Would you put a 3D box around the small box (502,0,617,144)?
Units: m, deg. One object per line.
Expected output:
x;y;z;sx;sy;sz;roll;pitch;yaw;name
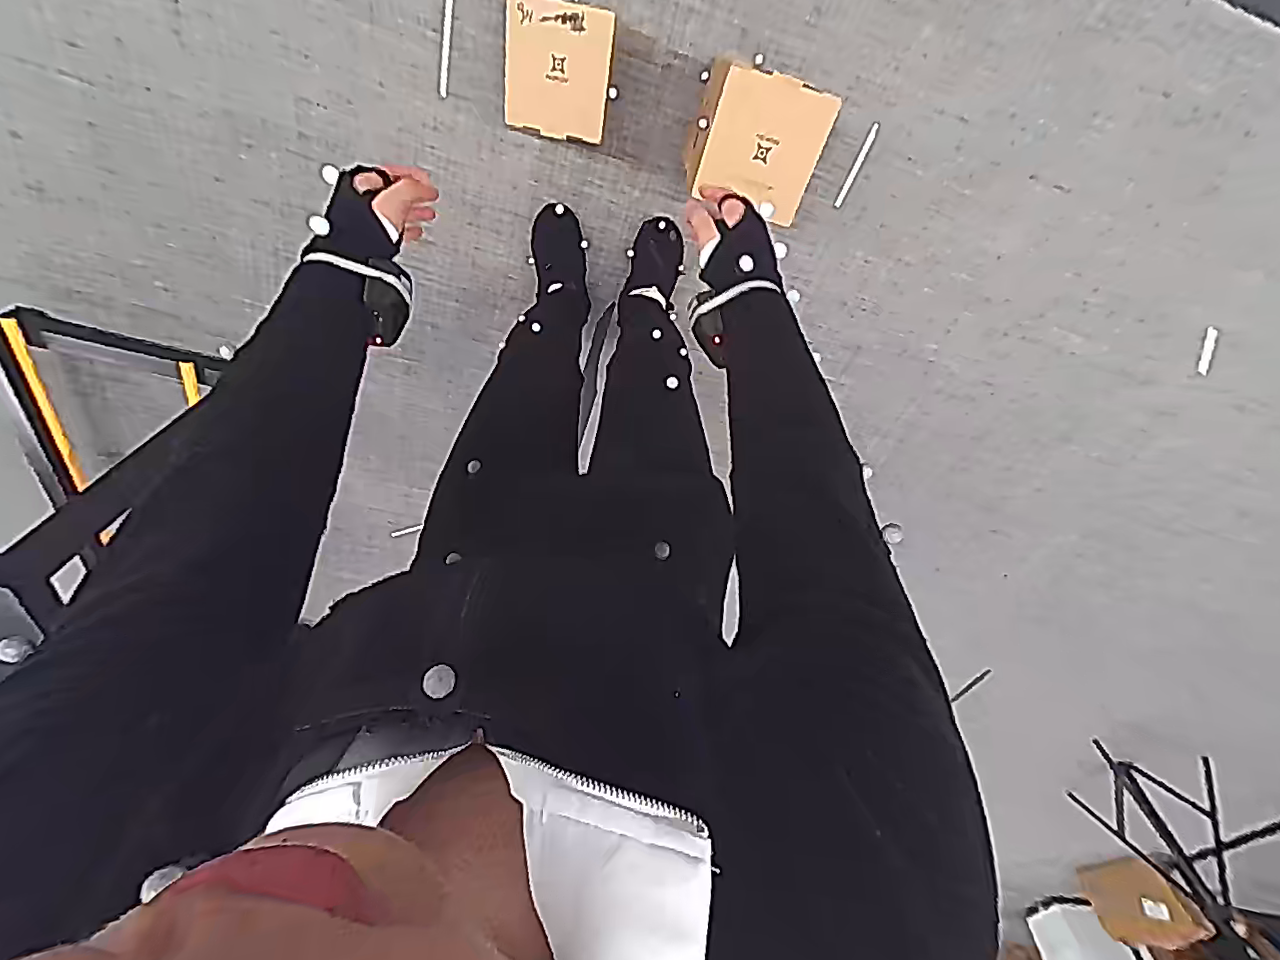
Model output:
-0.133;-0.701;0.919;0.168;0.176;0.179;9;129;-6;small box

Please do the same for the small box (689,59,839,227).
0.178;-0.529;0.845;0.168;0.176;0.179;13;129;-8;small box

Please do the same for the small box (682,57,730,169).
0.185;-0.629;0.973;0.179;0.176;0.168;16;128;-13;small box
